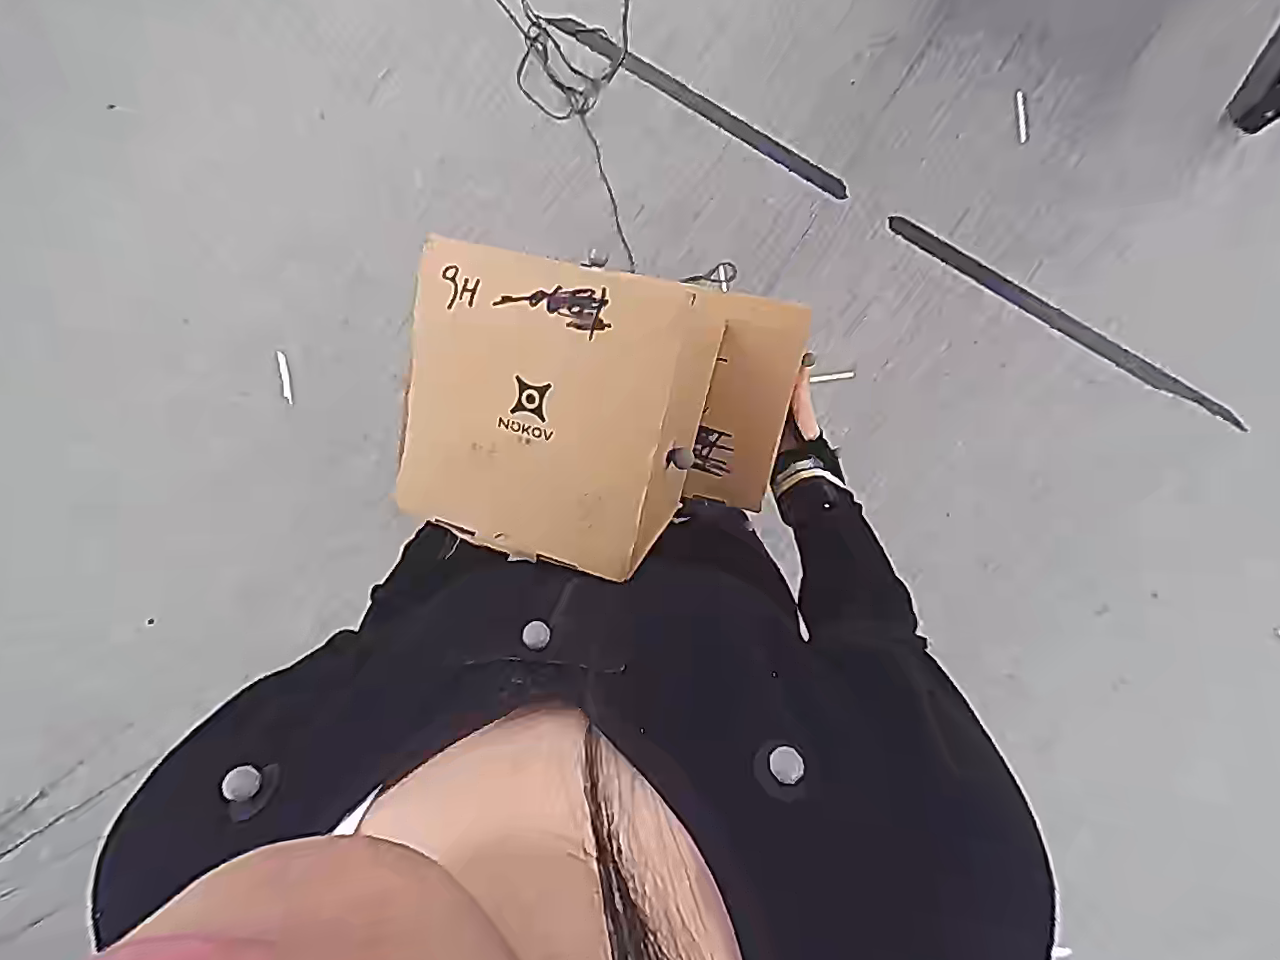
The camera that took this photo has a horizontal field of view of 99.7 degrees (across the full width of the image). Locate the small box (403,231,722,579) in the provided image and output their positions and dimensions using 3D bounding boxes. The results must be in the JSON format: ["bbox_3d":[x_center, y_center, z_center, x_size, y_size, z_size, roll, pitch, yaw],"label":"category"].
[{"bbox_3d":[-0.043,-0.059,0.396,0.168,0.176,0.179,16,106,10],"label":"small box"}]
